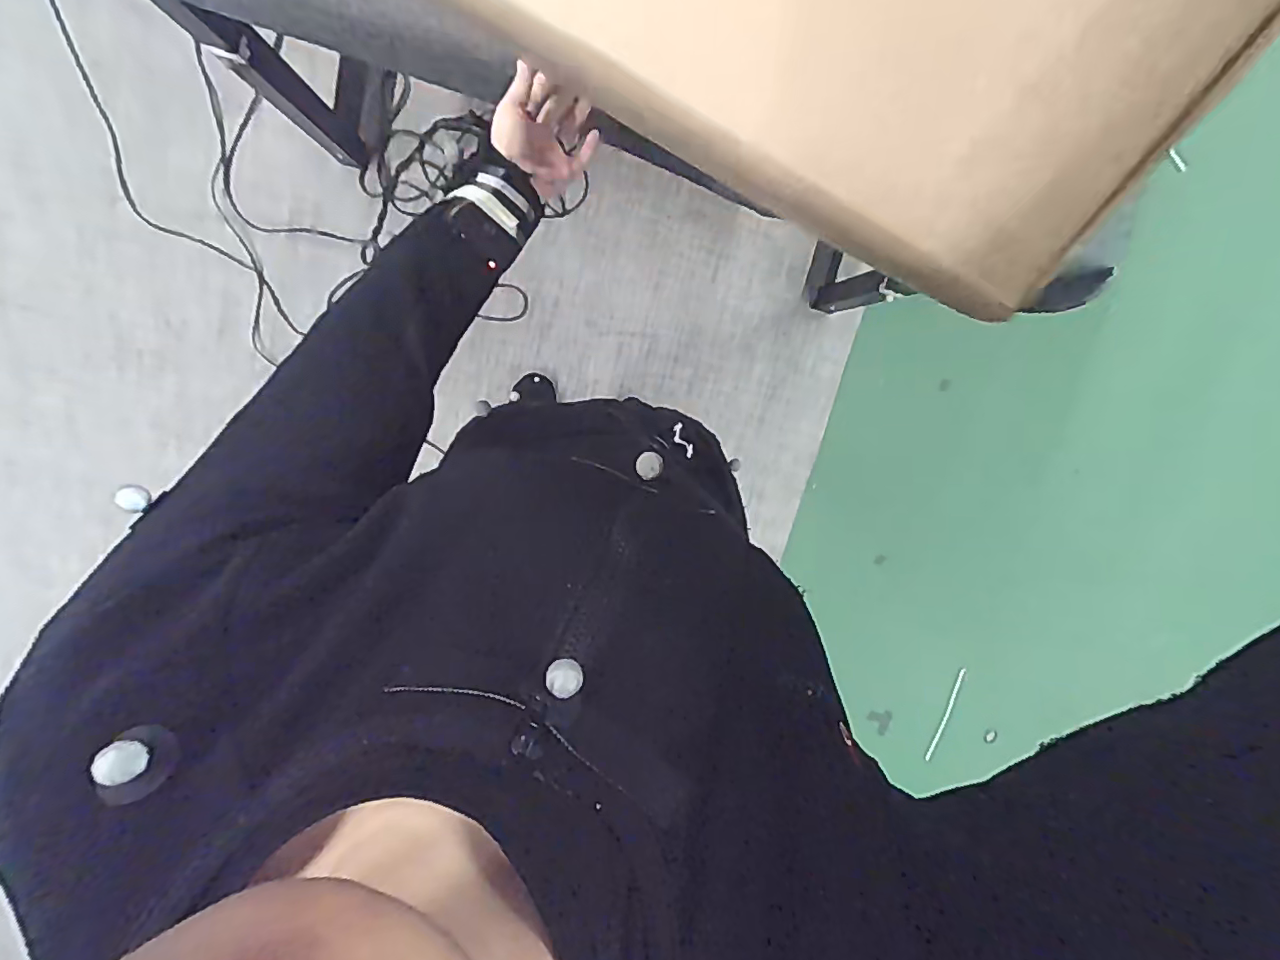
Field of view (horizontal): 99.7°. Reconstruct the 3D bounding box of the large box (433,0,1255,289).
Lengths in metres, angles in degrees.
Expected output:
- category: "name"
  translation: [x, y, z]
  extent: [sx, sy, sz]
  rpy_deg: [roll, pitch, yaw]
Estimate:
- category: "large box"
  translation: [0.084, -0.342, 0.272]
  extent: [0.320, 0.408, 0.320]
  rpy_deg: [26, 119, -6]
